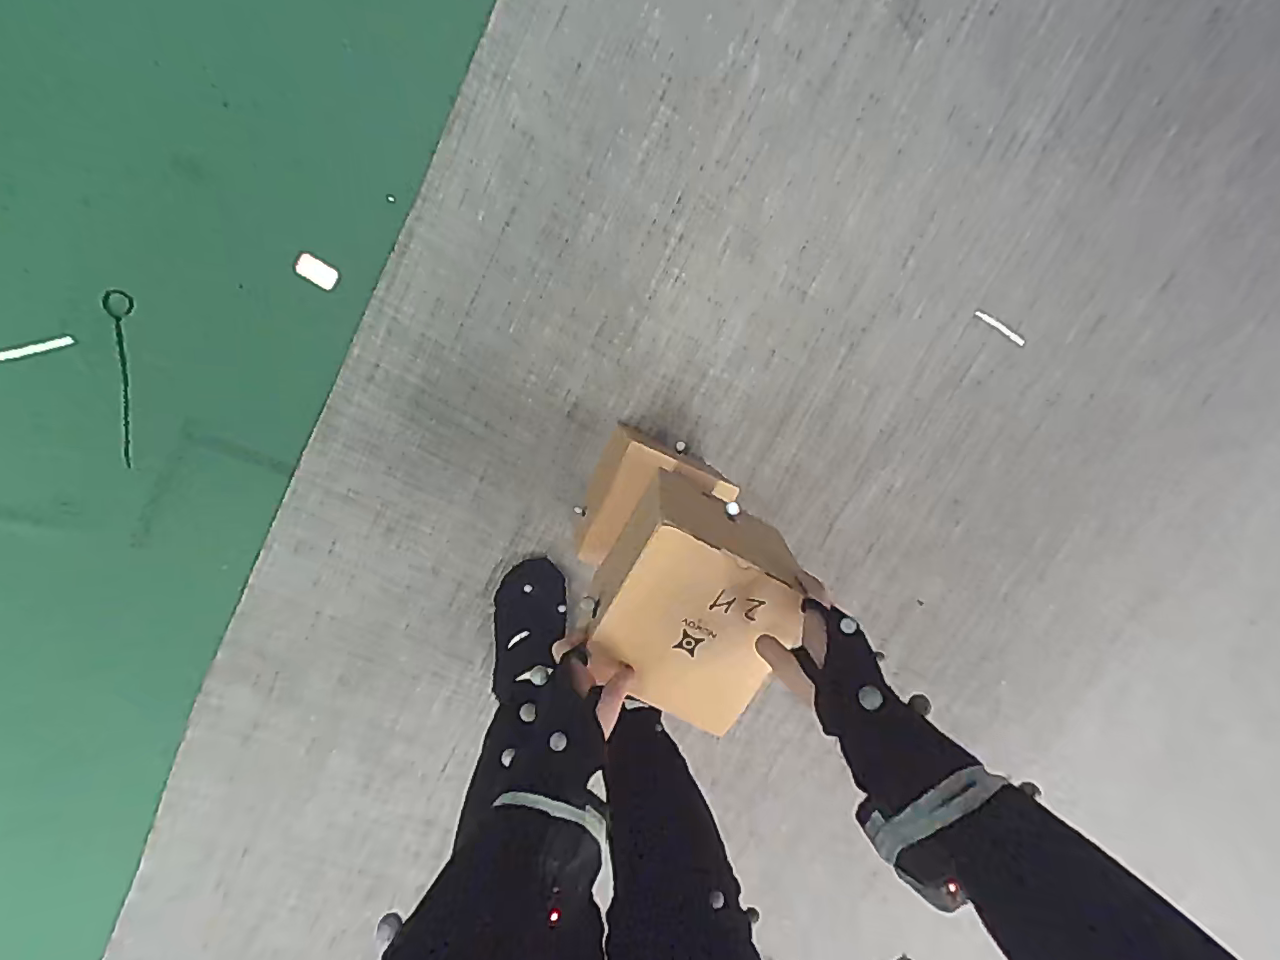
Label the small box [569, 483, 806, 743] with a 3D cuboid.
[{"bbox_3d":[0.045,0.130,0.580,0.168,0.176,0.179,27,105,-7],"label":"small box"}]

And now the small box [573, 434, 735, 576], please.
[{"bbox_3d":[0.010,0.051,0.797,0.168,0.176,0.179,23,99,-14],"label":"small box"}]
